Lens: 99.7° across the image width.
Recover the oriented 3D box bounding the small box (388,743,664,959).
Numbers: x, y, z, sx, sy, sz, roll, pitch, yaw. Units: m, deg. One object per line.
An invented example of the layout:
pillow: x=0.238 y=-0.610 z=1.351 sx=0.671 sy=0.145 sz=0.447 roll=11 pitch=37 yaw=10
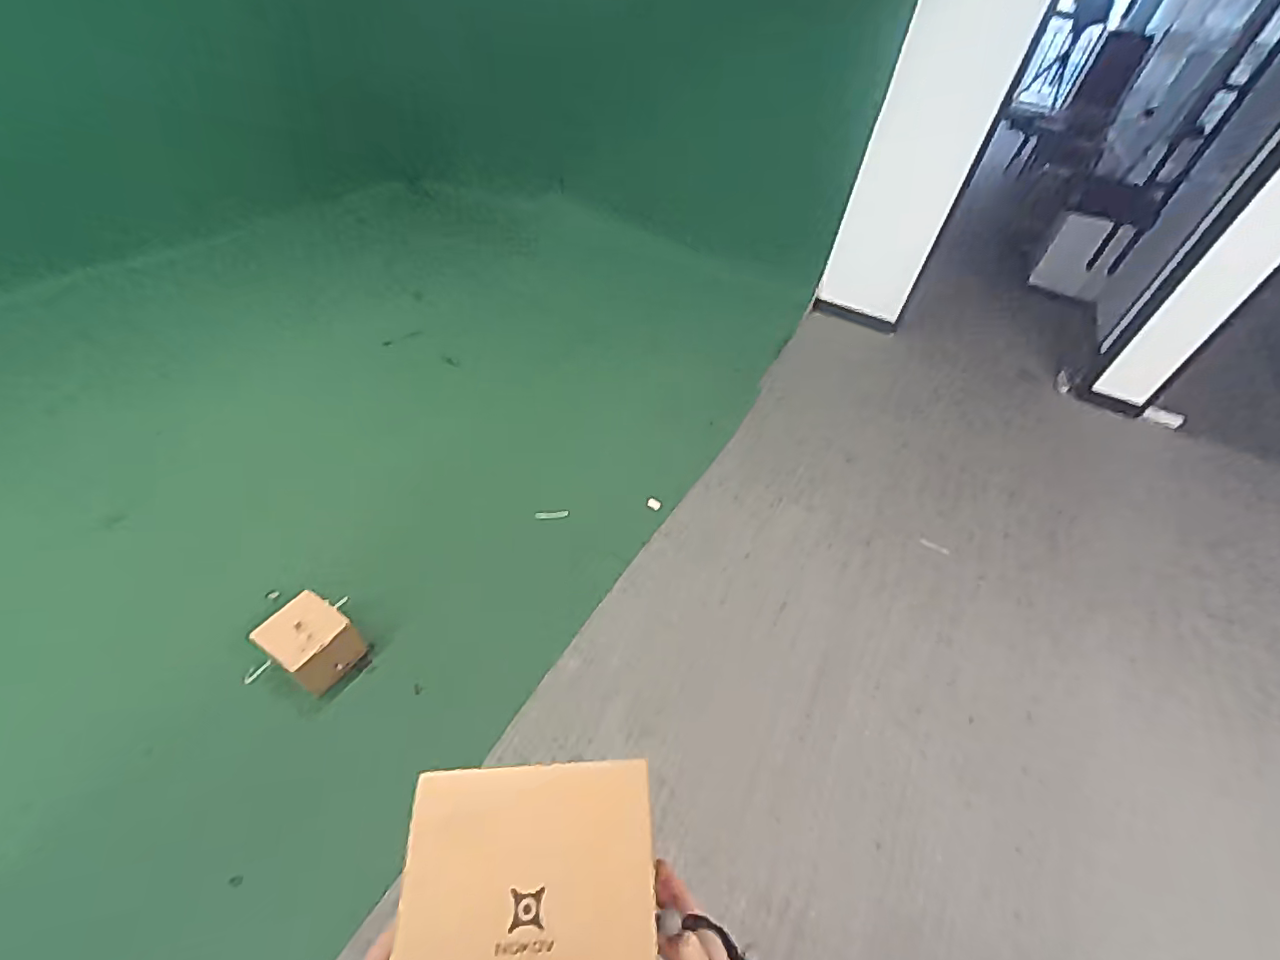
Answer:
small box: x=-0.071 y=0.308 z=0.401 sx=0.168 sy=0.176 sz=0.179 roll=-2 pitch=56 yaw=-2

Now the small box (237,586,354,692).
small box: x=-0.890 y=0.419 z=1.413 sx=0.179 sy=0.176 sz=0.168 roll=28 pitch=49 yaw=17
